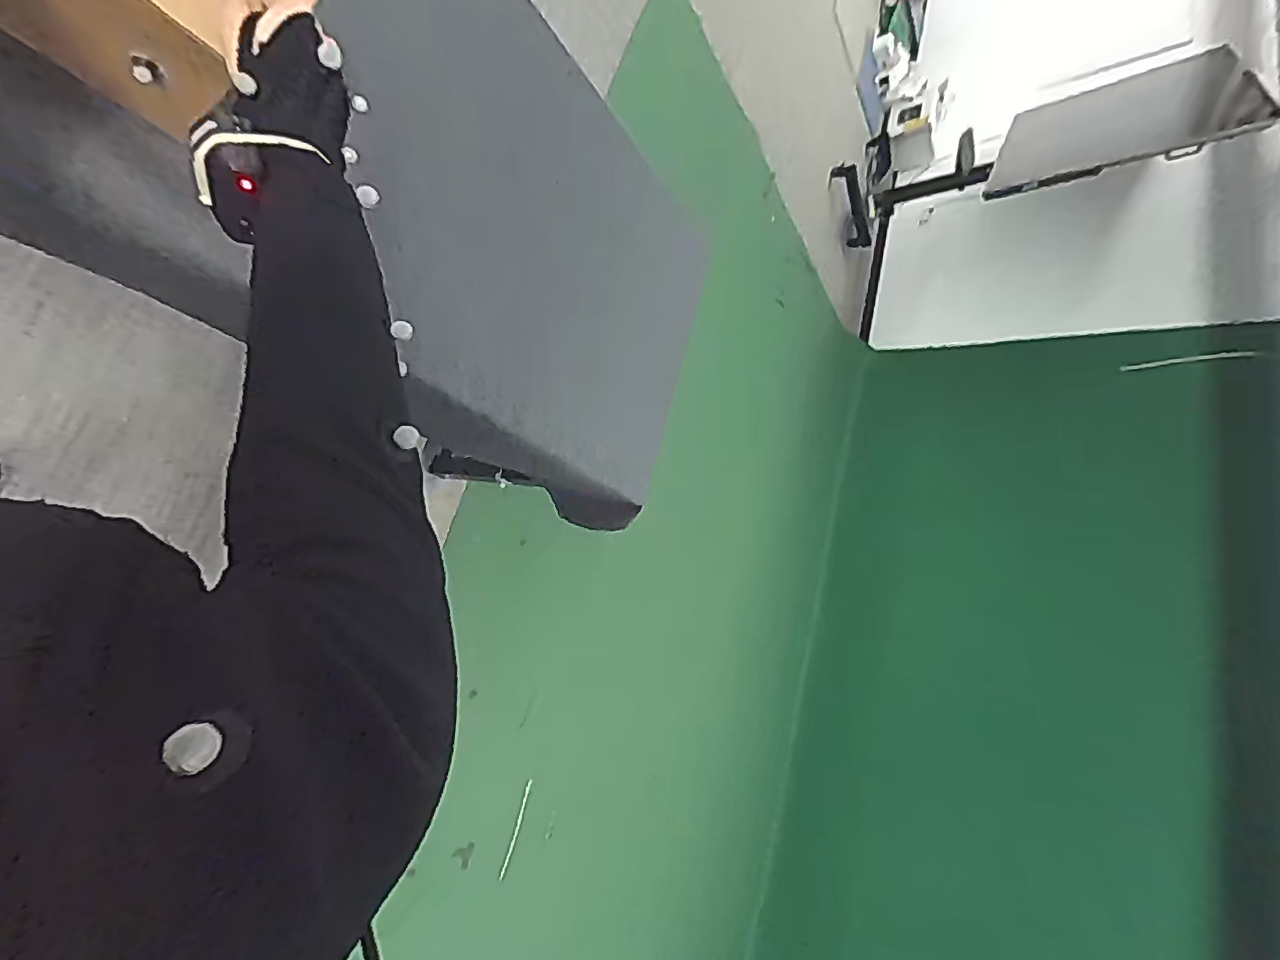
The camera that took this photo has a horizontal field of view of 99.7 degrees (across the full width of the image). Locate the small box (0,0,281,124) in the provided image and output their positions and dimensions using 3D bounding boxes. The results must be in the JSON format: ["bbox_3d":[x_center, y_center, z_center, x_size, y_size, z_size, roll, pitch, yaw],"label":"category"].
[{"bbox_3d":[-0.401,-0.417,0.416,0.179,0.176,0.168,25,72,-50],"label":"small box"}]
